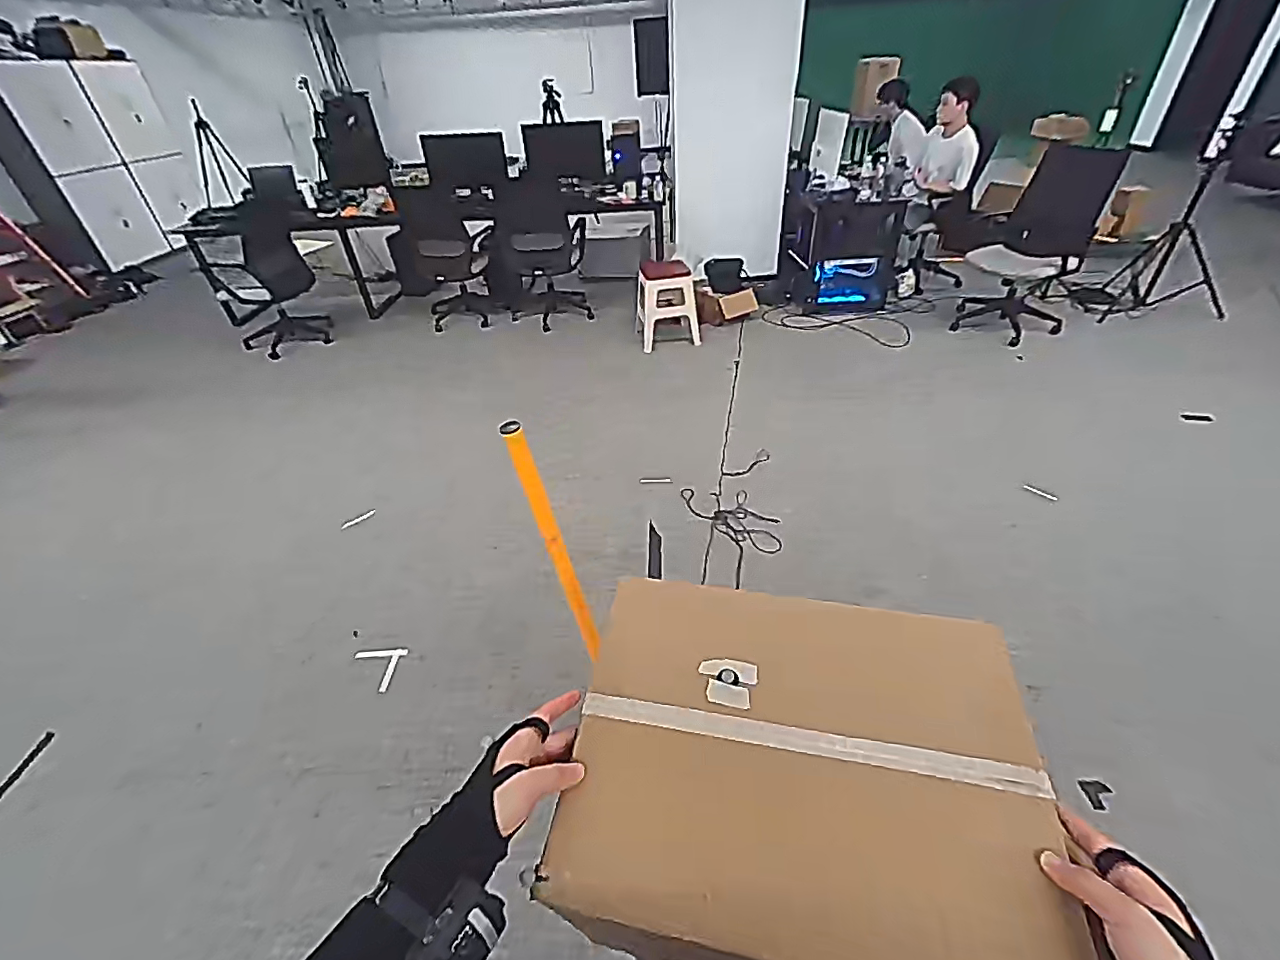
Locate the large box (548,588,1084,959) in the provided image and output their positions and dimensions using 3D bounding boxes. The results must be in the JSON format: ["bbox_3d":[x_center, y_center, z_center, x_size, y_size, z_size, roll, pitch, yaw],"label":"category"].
[{"bbox_3d":[0.161,0.353,0.609,0.408,0.320,0.320,4,44,12],"label":"large box"}]
